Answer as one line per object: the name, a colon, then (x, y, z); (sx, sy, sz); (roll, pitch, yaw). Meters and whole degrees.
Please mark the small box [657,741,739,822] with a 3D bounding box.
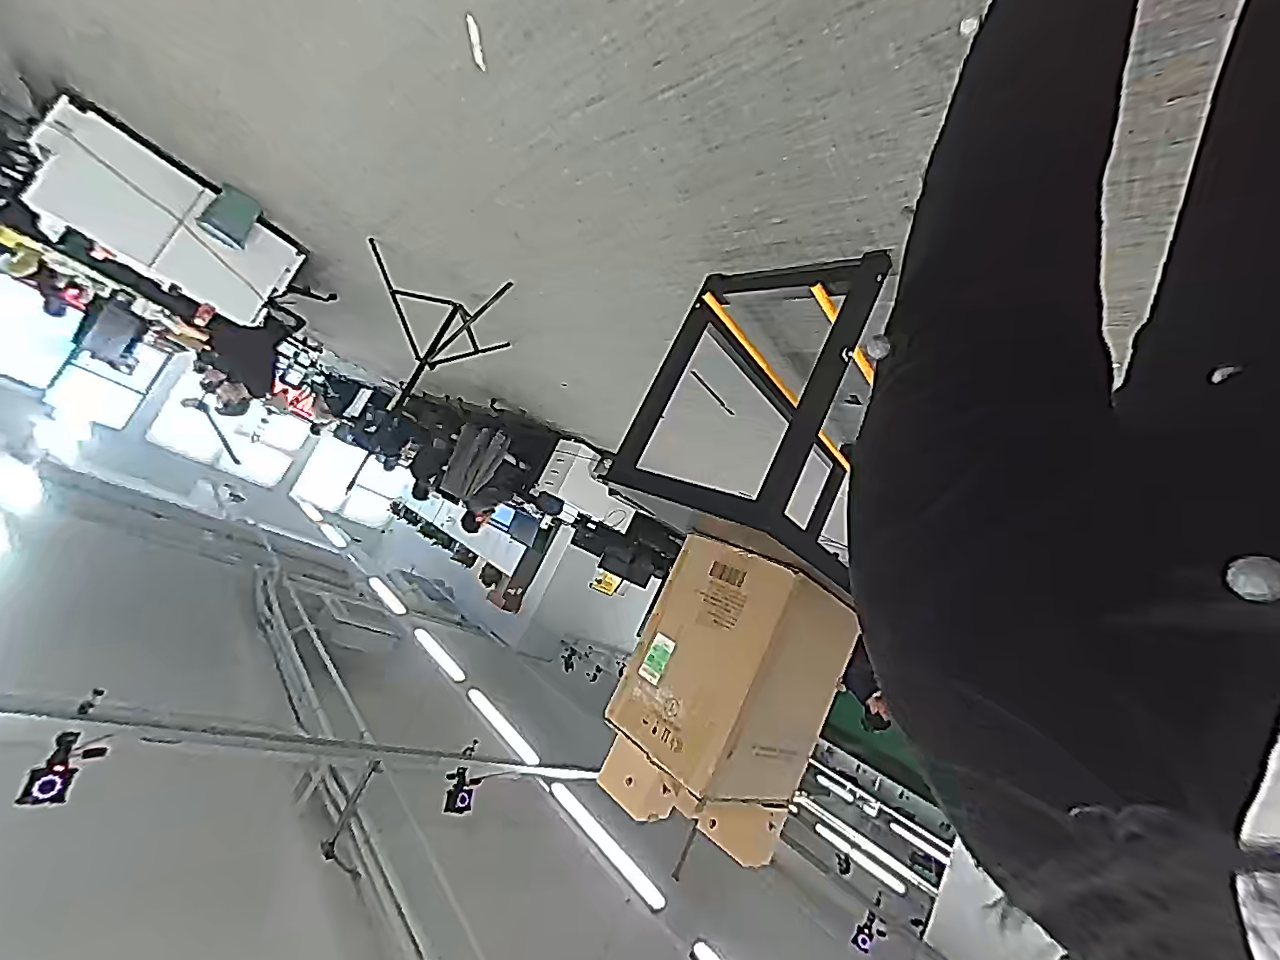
small box: (0.195, 0.985, 1.772); (0.168, 0.176, 0.179); (18, 167, 47)
